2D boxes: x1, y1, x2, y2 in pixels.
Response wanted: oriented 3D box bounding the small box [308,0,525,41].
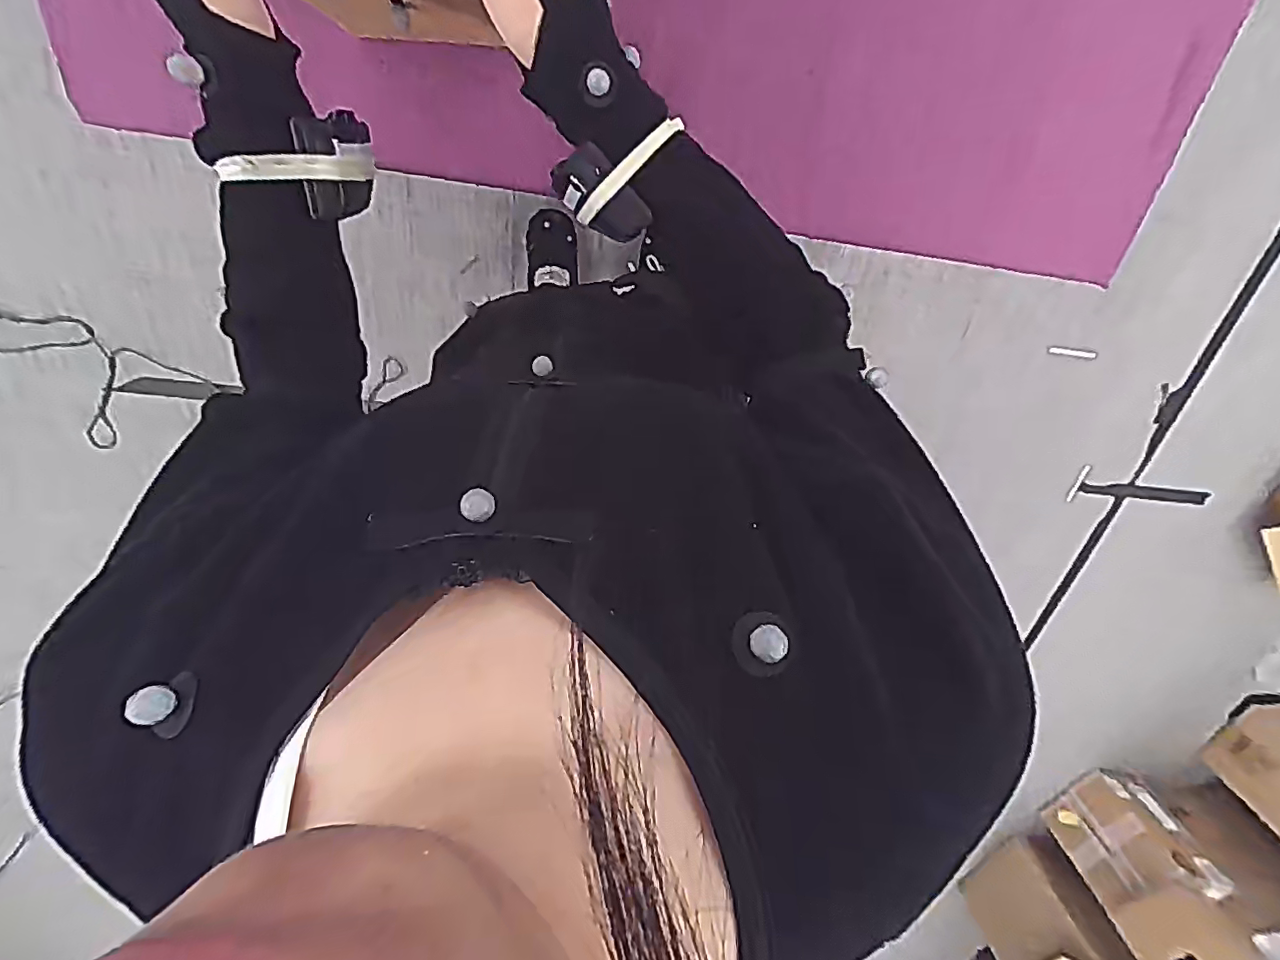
[{"bbox_3d":[-0.186,-0.474,0.431,0.179,0.176,0.168,0,118,-6],"label":"small box"}]
